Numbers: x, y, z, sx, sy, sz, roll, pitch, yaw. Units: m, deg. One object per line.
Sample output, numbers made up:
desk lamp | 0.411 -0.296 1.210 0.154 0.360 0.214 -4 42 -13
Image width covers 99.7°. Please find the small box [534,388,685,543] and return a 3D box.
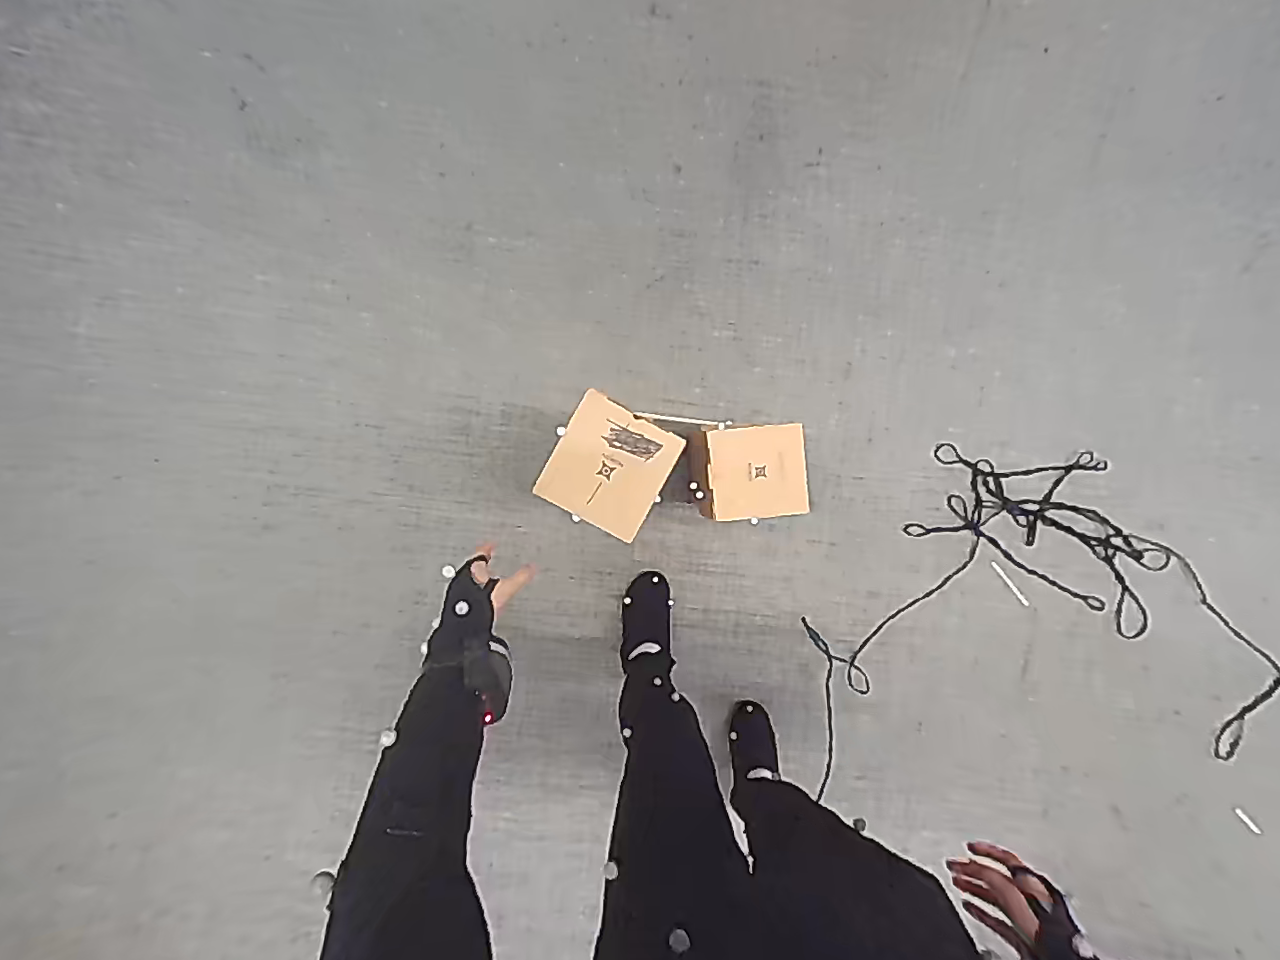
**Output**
small box | -0.050 -0.022 0.863 0.168 0.176 0.179 29 89 -3

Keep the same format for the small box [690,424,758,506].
small box | 0.204 -0.030 1.201 0.168 0.176 0.179 -1 90 -3

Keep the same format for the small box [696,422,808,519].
small box | 0.205 -0.017 1.038 0.179 0.176 0.168 -5 92 -3
